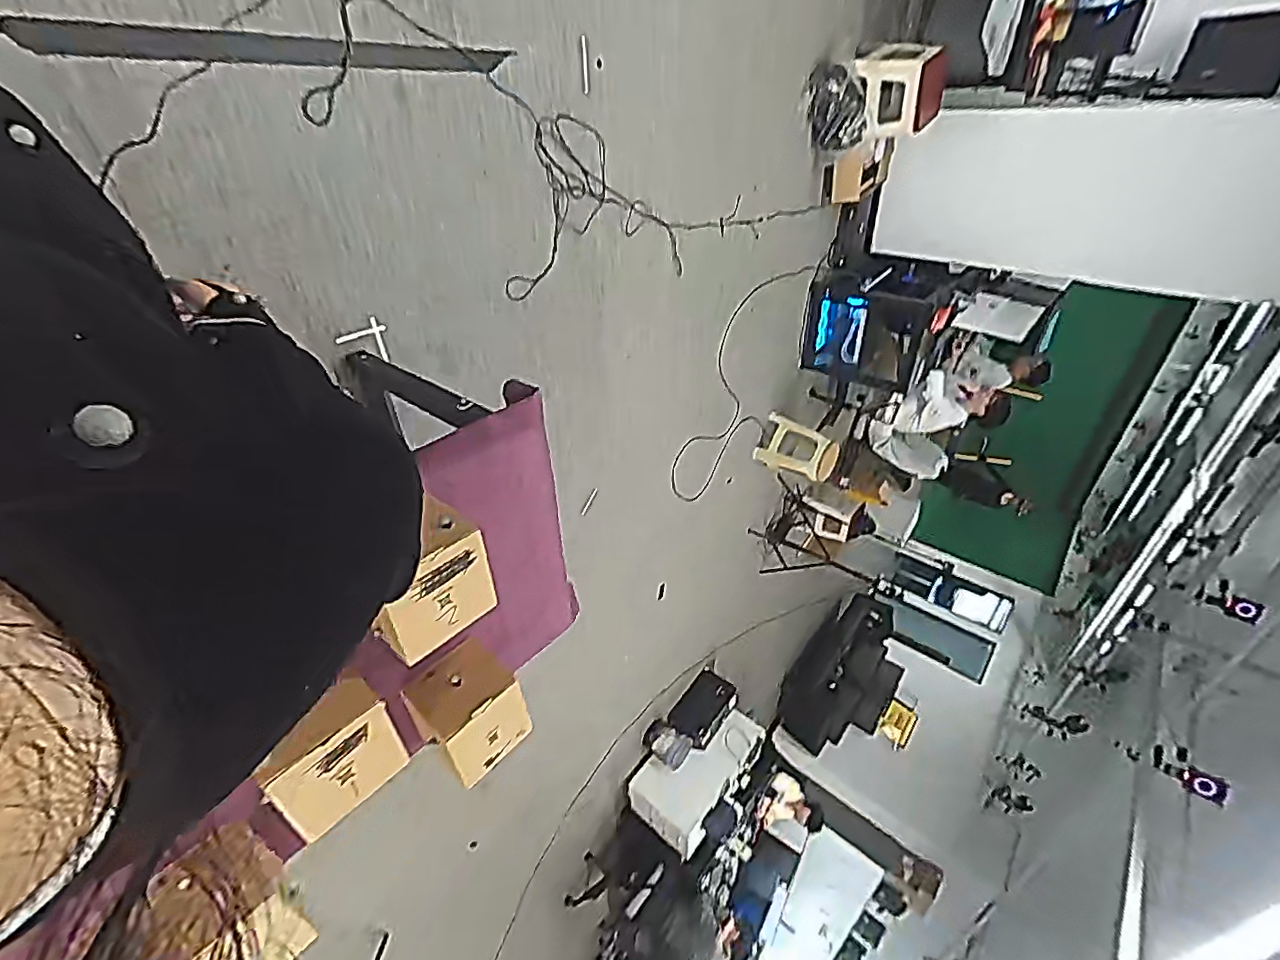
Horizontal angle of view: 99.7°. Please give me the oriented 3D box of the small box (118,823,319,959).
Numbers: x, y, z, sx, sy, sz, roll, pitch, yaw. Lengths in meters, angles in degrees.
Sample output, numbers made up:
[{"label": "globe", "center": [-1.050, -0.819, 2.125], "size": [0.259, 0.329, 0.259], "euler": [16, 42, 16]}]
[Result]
[{"label": "small box", "center": [-0.636, 0.674, 0.825], "size": [0.168, 0.176, 0.179], "euler": [-36, 136, -38]}]

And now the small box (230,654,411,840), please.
[{"label": "small box", "center": [-0.496, 0.402, 0.847], "size": [0.168, 0.176, 0.179], "euler": [-34, 137, -38]}]

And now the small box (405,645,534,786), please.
[{"label": "small box", "center": [-0.344, 0.461, 1.091], "size": [0.168, 0.176, 0.179], "euler": [-35, 134, -37]}]
